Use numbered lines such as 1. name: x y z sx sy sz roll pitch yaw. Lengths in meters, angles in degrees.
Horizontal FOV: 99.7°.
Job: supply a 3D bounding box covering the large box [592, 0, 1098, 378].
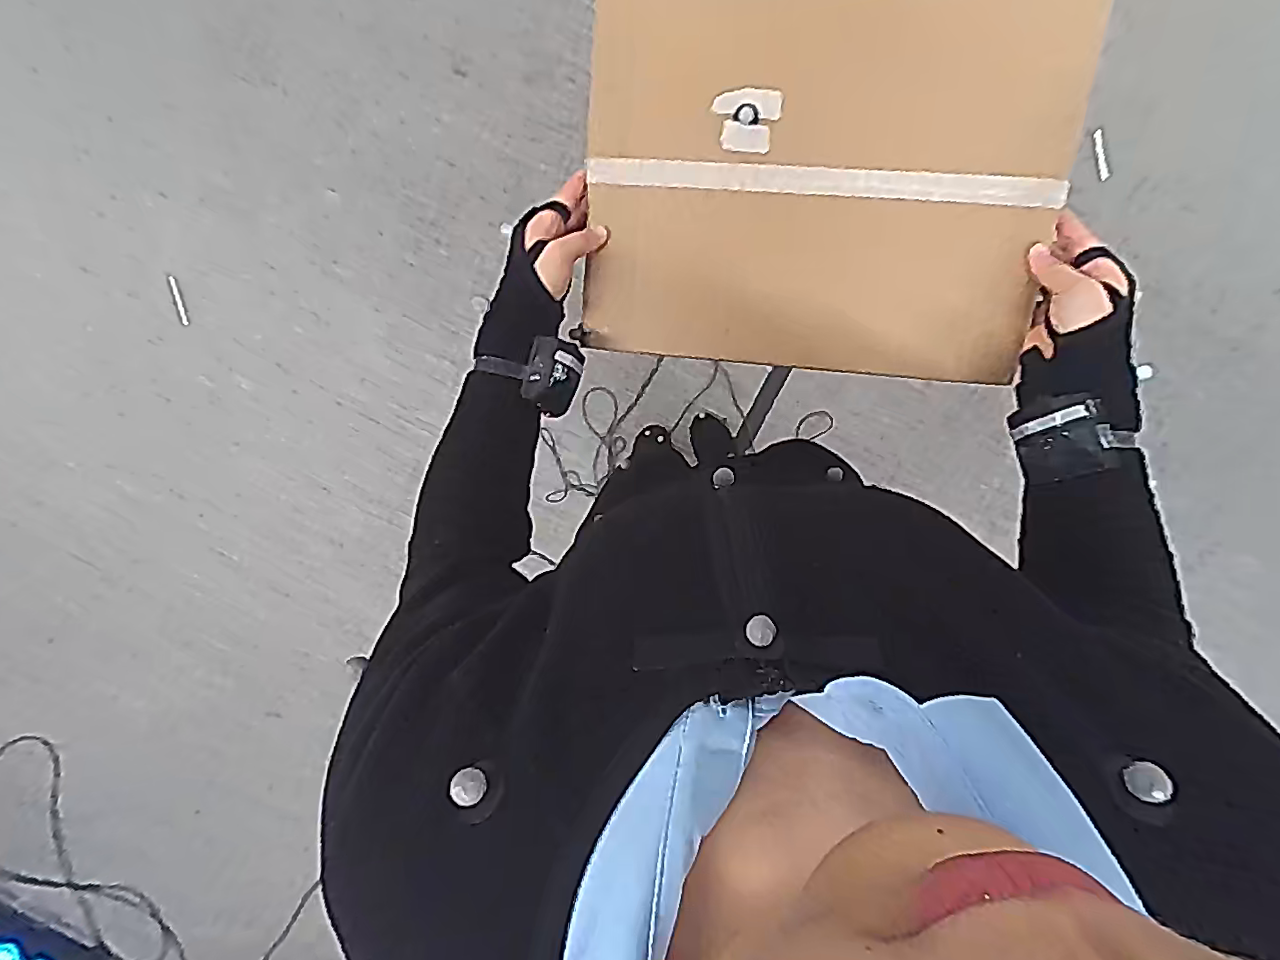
1. large box: 0.178 -0.300 0.628 0.408 0.320 0.320 7 105 6
